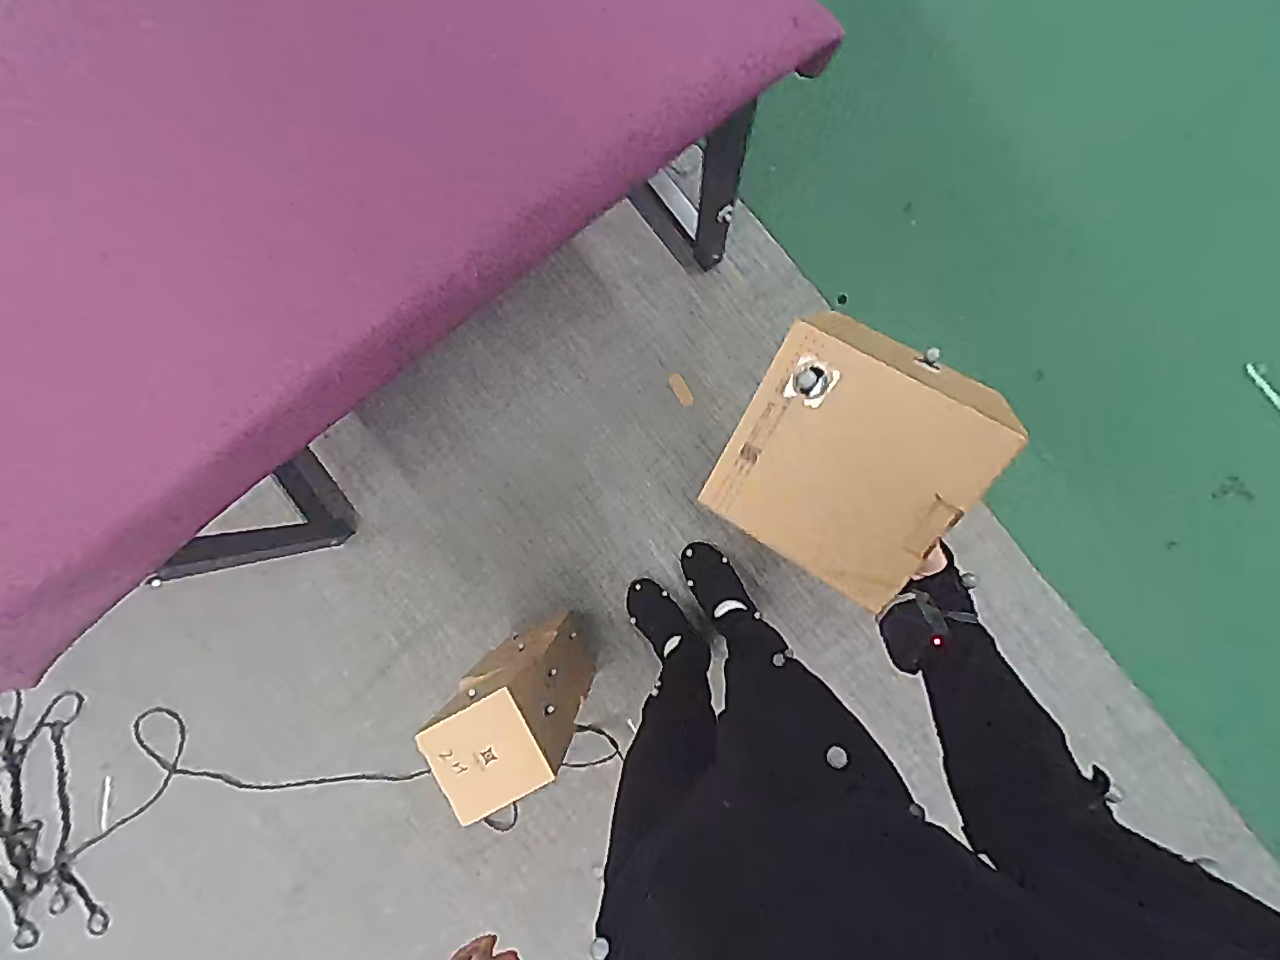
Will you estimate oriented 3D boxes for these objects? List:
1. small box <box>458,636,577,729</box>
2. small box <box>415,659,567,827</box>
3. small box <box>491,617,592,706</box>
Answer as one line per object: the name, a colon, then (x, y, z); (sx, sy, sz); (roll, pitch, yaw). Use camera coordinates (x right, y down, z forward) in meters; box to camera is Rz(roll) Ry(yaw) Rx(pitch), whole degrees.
small box: (-0.238, 0.439, 1.092); (0.168, 0.176, 0.179); (-16, 89, 4)
small box: (-0.239, 0.435, 0.927); (0.179, 0.176, 0.168); (-29, 87, 4)
small box: (-0.223, 0.433, 1.253); (0.168, 0.176, 0.179); (-22, 90, 3)
